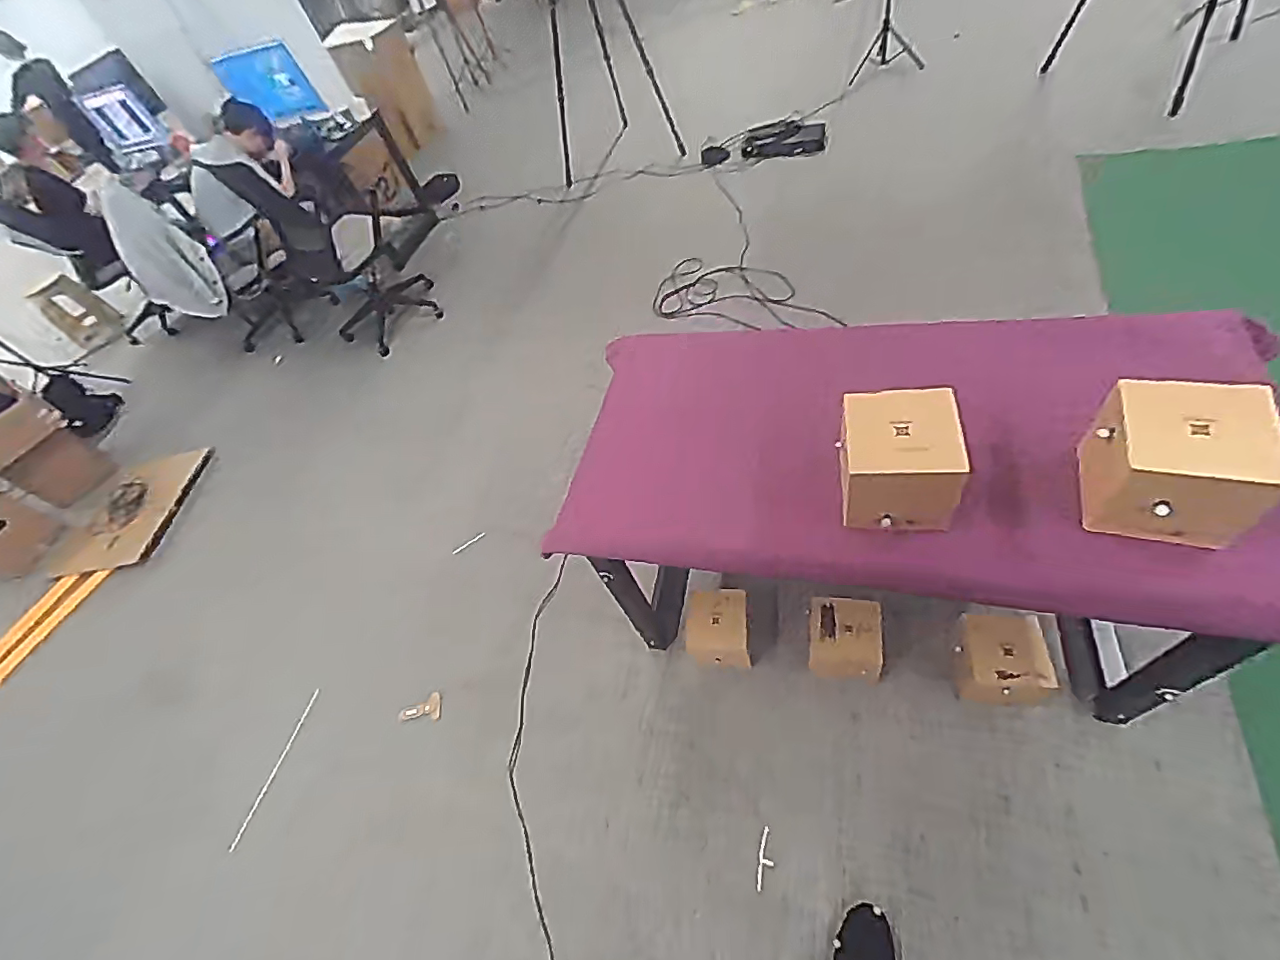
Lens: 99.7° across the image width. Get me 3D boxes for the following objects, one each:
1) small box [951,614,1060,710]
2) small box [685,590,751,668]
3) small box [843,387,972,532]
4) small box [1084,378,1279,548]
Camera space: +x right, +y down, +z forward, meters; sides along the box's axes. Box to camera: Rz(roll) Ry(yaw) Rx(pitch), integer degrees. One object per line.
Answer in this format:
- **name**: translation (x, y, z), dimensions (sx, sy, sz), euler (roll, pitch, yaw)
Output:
- **small box**: translation (0.886, 0.449, 1.332), dimensions (0.168, 0.176, 0.179), euler (-2, 53, 16)
- **small box**: translation (0.229, 0.429, 1.551), dimensions (0.168, 0.176, 0.179), euler (-3, 53, 15)
- **small box**: translation (0.431, -0.034, 0.902), dimensions (0.168, 0.176, 0.179), euler (0, 54, 18)
- **small box**: translation (0.778, -0.023, 0.785), dimensions (0.168, 0.176, 0.179), euler (9, 56, 24)
